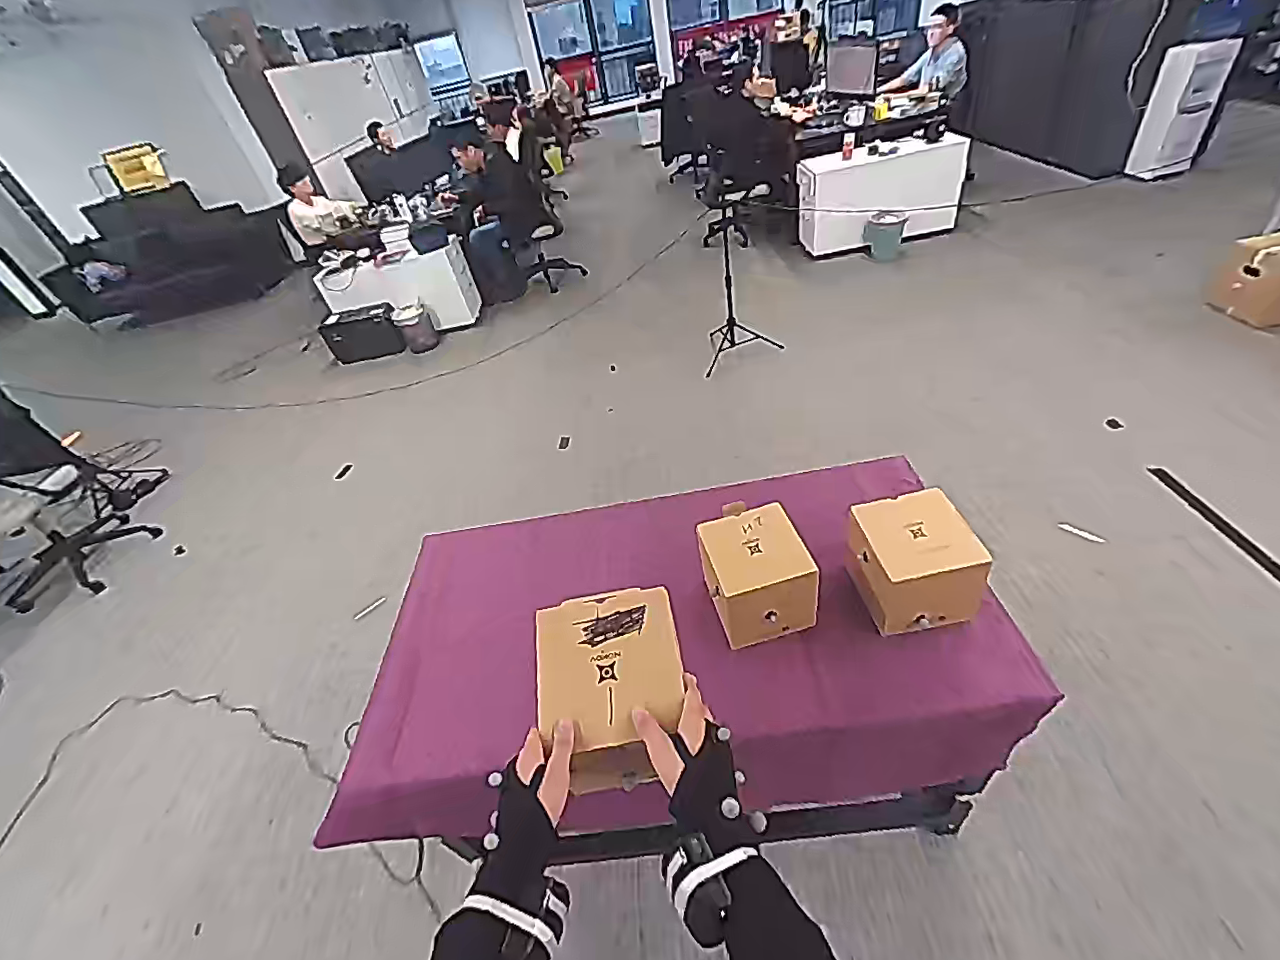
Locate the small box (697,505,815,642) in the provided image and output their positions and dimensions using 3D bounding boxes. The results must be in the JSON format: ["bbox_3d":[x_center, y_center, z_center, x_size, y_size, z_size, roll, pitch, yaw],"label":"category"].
[{"bbox_3d":[0.217,0.181,1.016,0.168,0.176,0.179,-15,40,-2],"label":"small box"}]

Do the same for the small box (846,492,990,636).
[{"bbox_3d":[0.484,0.152,0.976,0.168,0.176,0.179,-12,40,3],"label":"small box"}]

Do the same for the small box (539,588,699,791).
[{"bbox_3d":[-0.025,0.264,0.679,0.168,0.176,0.179,-12,48,1],"label":"small box"}]
